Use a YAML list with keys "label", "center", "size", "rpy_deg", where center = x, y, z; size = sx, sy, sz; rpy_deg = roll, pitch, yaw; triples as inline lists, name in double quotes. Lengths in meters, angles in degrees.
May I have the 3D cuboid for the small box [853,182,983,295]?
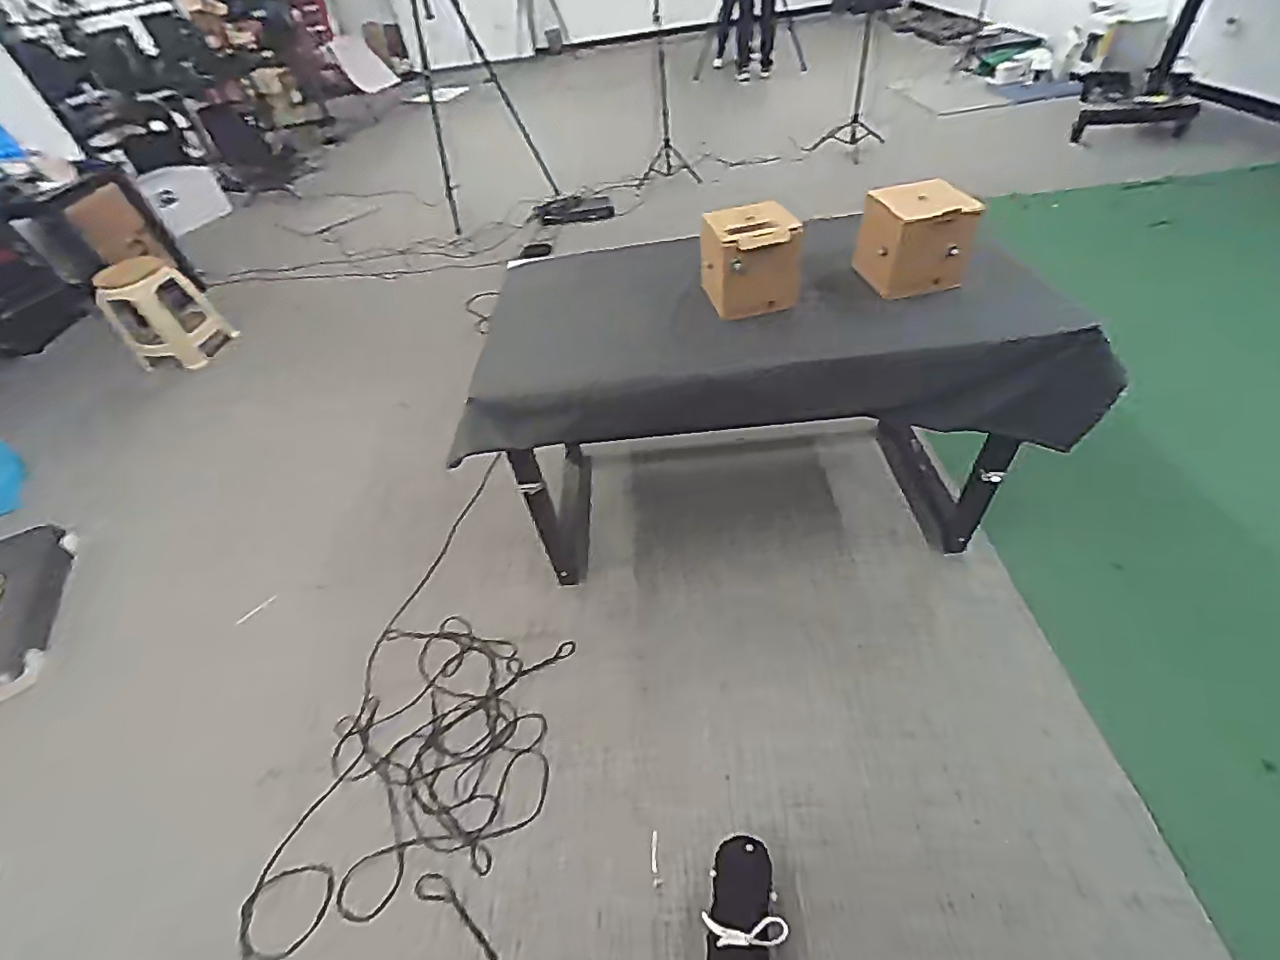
- label: "small box"
  center: [0.576, -0.505, 1.148]
  size: [0.168, 0.176, 0.179]
  rpy_deg: [-10, 45, -2]
